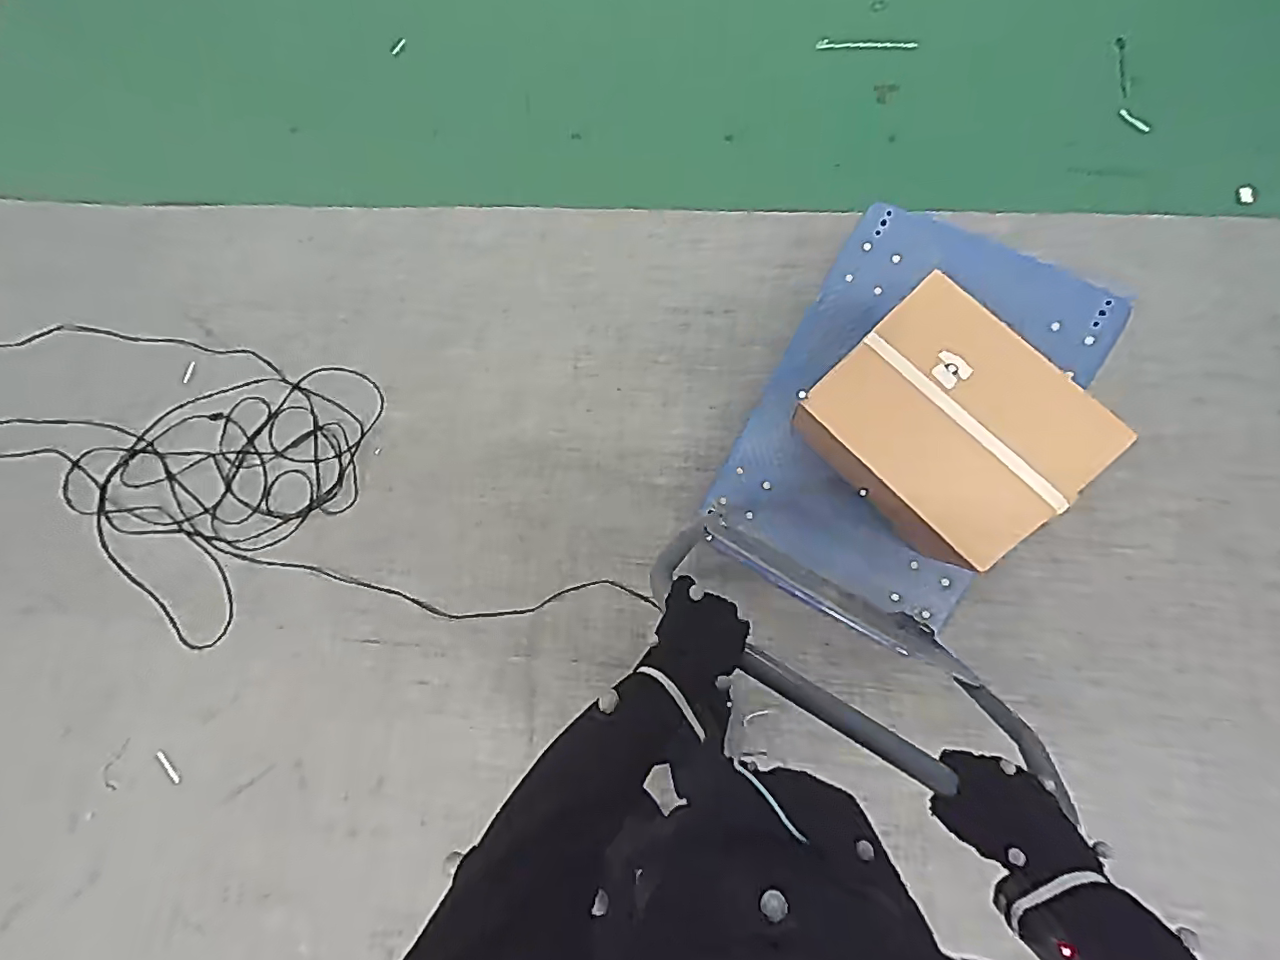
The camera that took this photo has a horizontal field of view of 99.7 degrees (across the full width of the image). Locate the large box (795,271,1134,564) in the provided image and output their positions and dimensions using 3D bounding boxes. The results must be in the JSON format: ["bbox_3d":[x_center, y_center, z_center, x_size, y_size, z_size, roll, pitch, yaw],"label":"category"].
[{"bbox_3d":[0.551,-0.099,1.024,0.320,0.320,0.408,-45,78,7],"label":"large box"}]
